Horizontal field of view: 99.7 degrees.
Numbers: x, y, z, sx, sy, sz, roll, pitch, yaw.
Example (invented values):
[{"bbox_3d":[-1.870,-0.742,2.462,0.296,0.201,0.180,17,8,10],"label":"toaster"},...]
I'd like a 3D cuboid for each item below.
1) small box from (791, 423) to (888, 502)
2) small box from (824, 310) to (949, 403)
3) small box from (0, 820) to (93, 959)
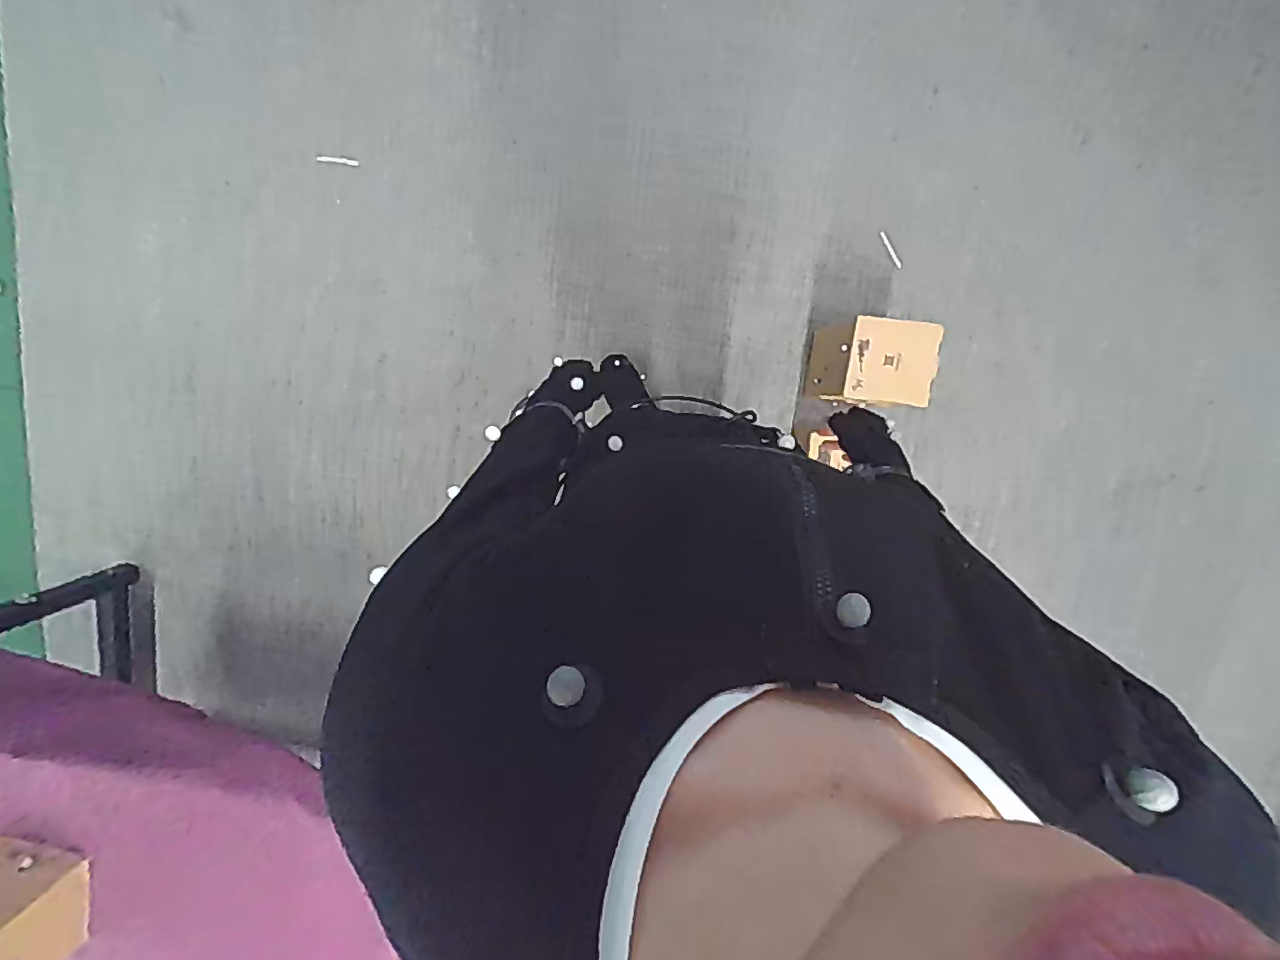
[{"bbox_3d":[0.492,-0.049,1.364,0.179,0.176,0.168,7,101,1],"label":"small box"},{"bbox_3d":[0.518,-0.261,1.160,0.179,0.176,0.168,8,100,0],"label":"small box"},{"bbox_3d":[-1.009,0.678,0.836,0.168,0.176,0.179,13,100,0],"label":"small box"}]
